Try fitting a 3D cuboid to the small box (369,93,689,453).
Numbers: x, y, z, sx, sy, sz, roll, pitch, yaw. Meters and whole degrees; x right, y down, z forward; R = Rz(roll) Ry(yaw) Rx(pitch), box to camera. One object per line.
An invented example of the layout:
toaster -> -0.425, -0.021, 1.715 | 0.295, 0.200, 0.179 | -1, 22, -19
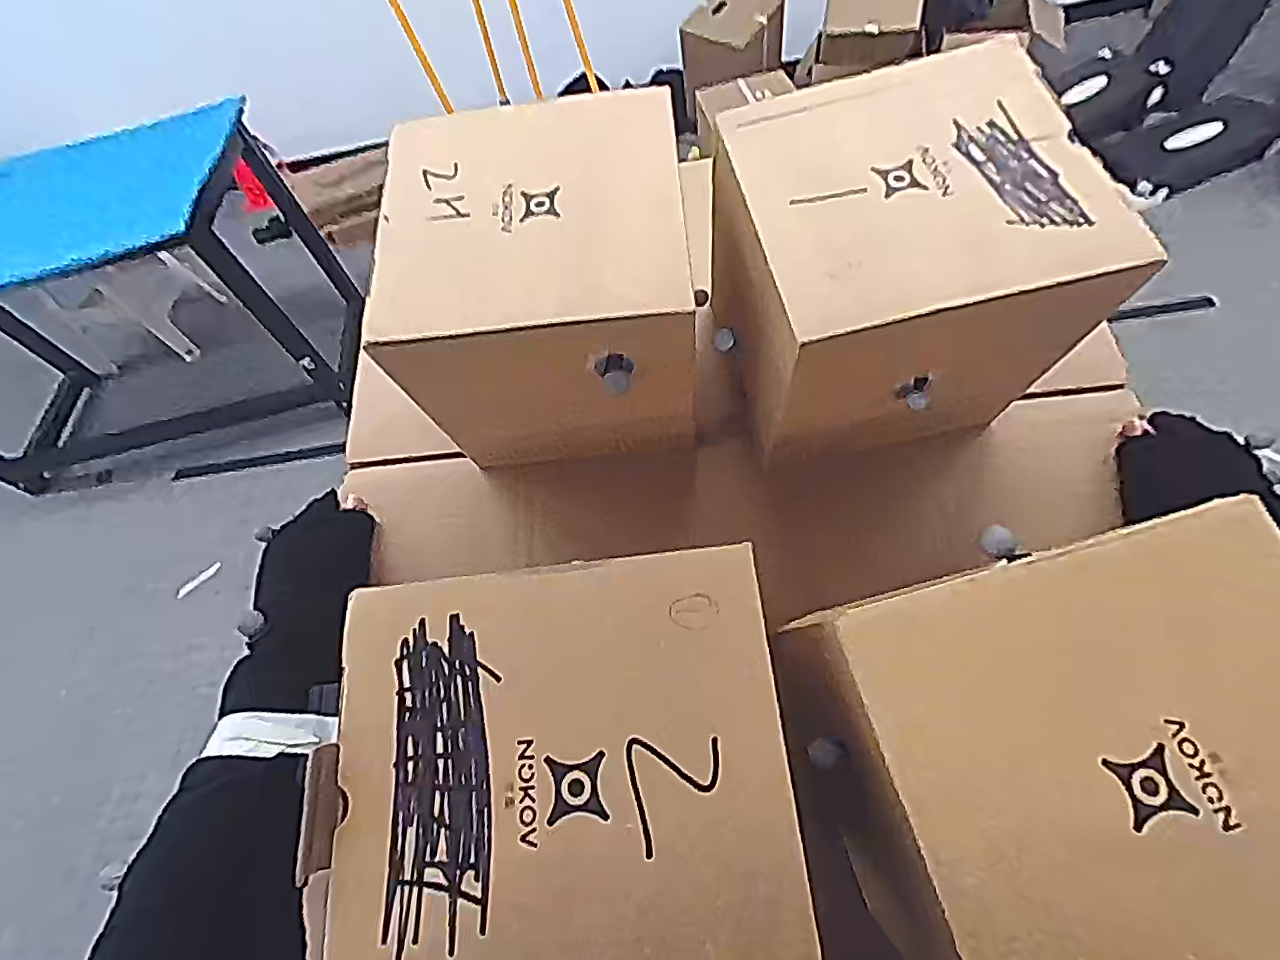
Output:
small box -> -0.057, -0.130, 0.389 | 0.179, 0.176, 0.168 | -5, 69, 5
